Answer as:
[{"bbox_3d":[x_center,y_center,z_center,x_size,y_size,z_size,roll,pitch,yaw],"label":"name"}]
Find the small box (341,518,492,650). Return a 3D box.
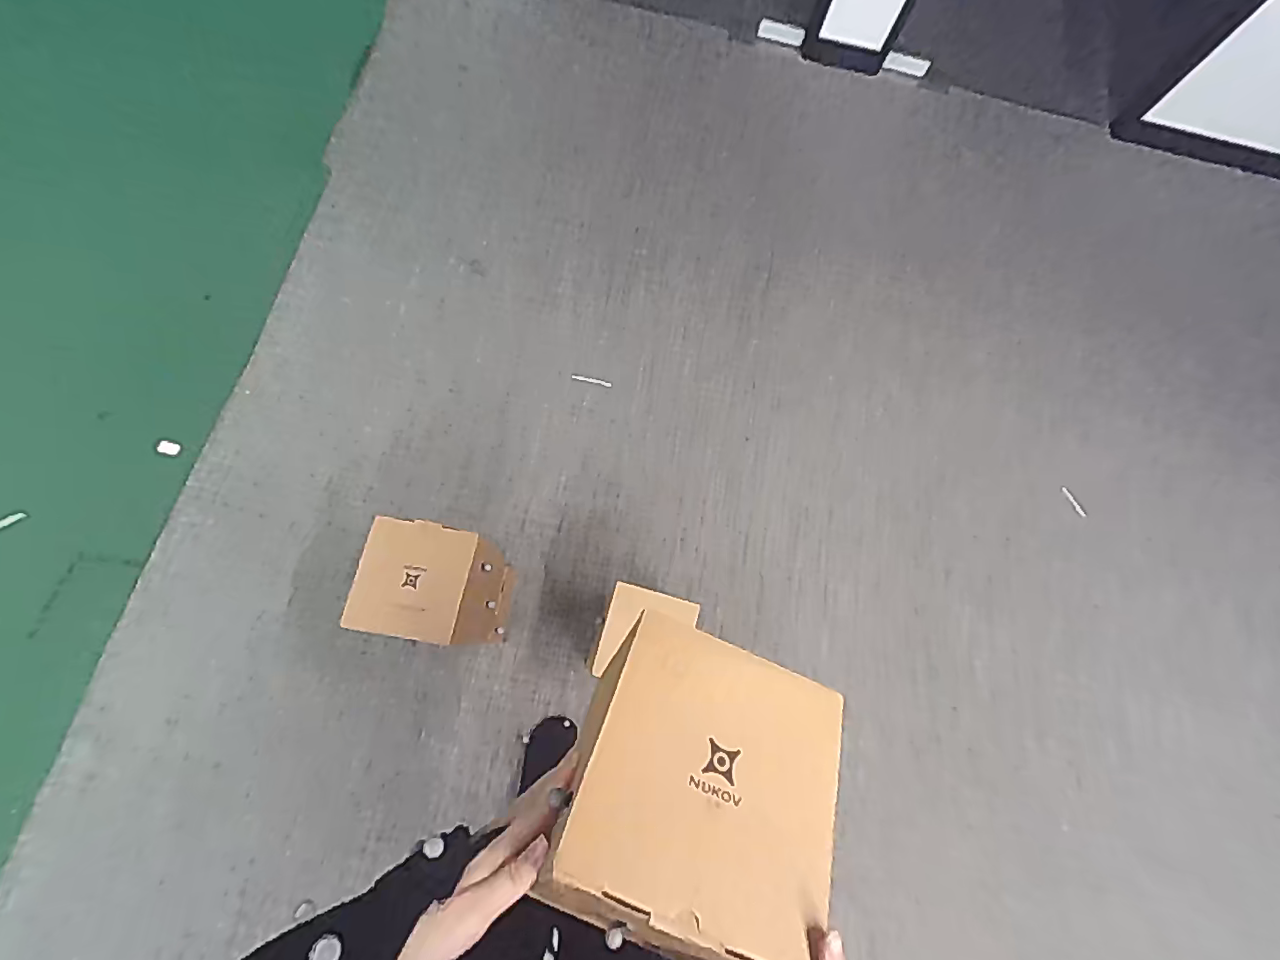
[{"bbox_3d":[-0.351,0.177,0.889,0.168,0.176,0.179,10,73,-2],"label":"small box"}]

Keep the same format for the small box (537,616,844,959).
[{"bbox_3d":[0.033,0.242,0.415,0.168,0.176,0.179,24,49,0],"label":"small box"}]

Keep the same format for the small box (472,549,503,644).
[{"bbox_3d":[-0.371,0.219,1.045,0.168,0.176,0.179,10,73,-4],"label":"small box"}]

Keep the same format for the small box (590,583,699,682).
[{"bbox_3d":[0.002,0.317,1.062,0.168,0.176,0.179,17,72,-1],"label":"small box"}]
